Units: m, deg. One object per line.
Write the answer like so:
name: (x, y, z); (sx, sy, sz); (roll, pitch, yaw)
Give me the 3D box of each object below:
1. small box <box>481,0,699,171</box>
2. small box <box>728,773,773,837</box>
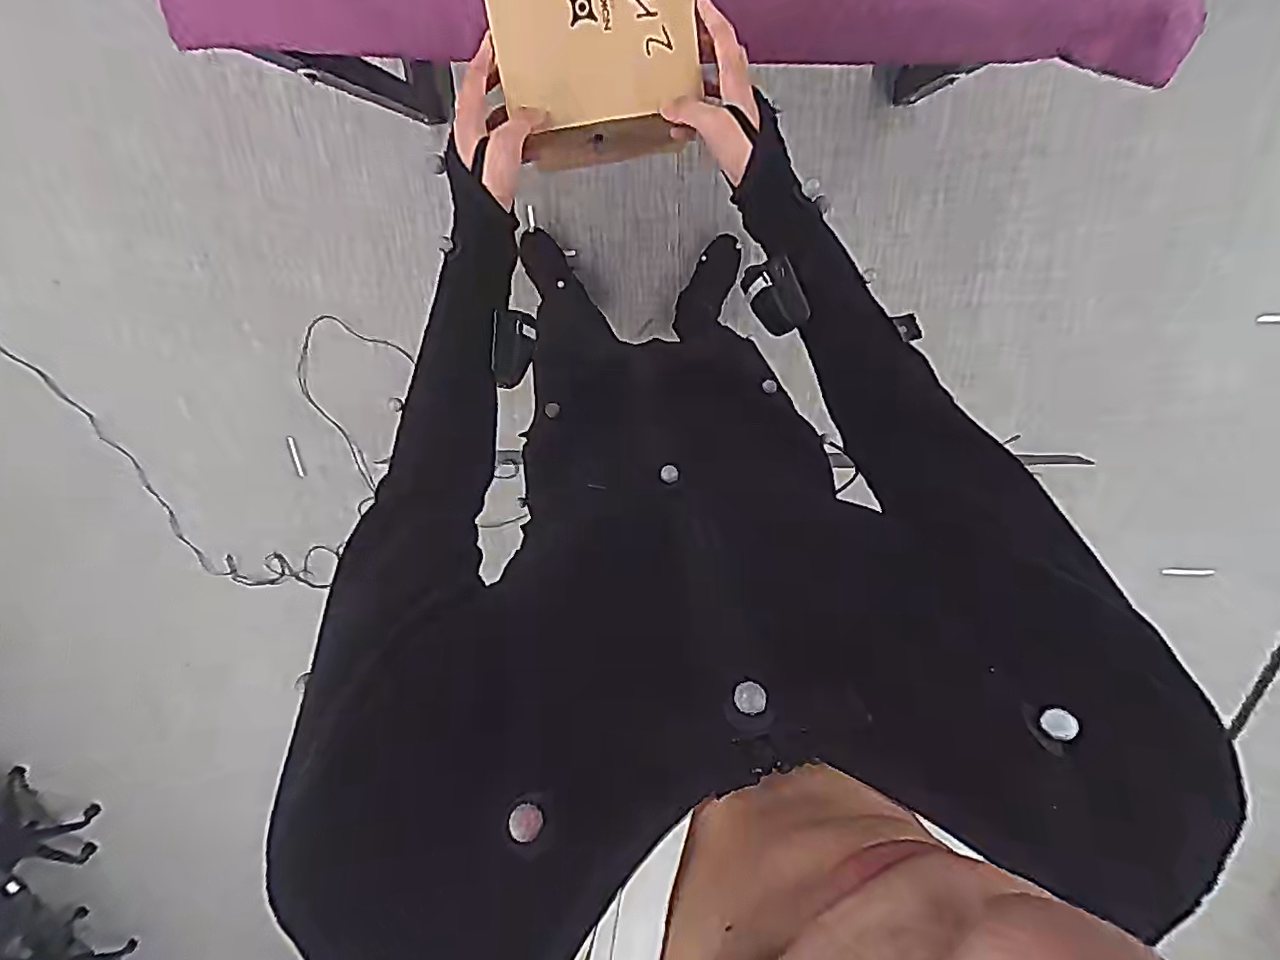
small box: (-0.046, -0.416, 0.524); (0.179, 0.176, 0.168); (-8, 110, 0)
small box: (0.462, 1.364, 2.268); (0.168, 0.176, 0.179); (-6, 115, 5)
